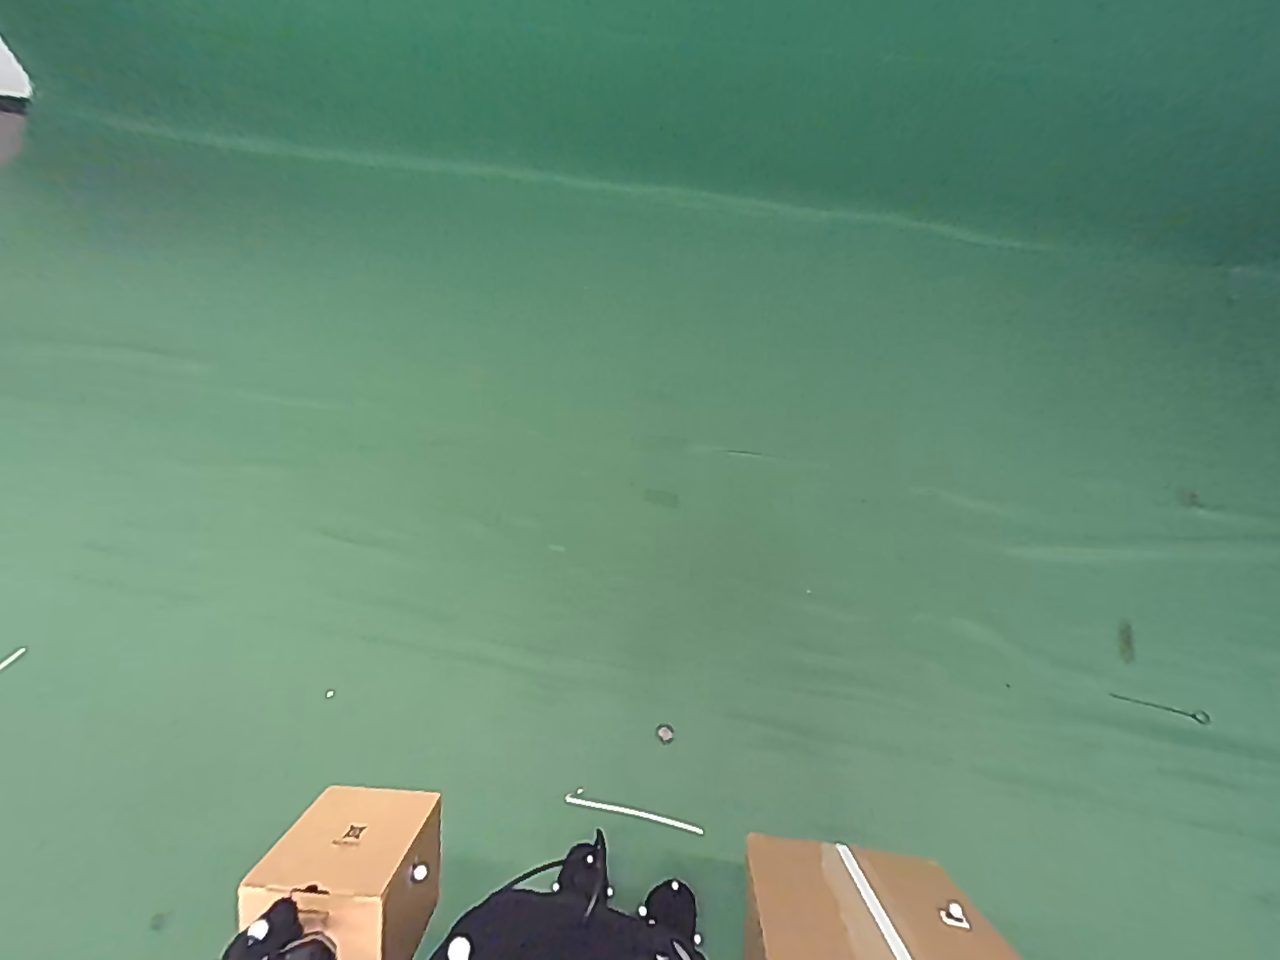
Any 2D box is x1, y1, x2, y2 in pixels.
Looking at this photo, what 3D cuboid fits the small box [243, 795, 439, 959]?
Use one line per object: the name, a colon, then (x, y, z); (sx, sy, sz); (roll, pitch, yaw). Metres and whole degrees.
small box: (-0.377, 0.548, 0.700); (0.168, 0.179, 0.176); (4, 95, 1)
